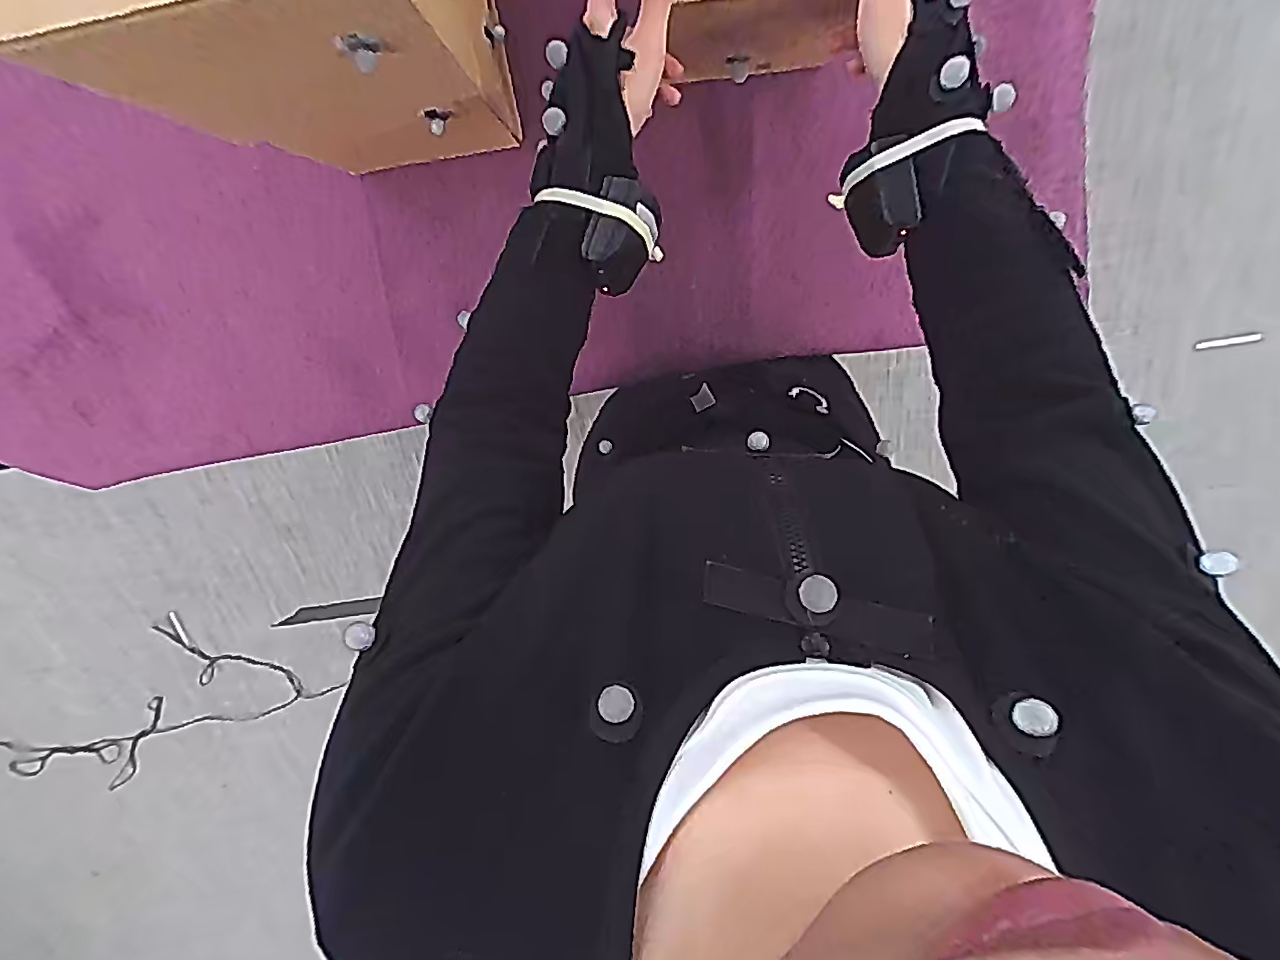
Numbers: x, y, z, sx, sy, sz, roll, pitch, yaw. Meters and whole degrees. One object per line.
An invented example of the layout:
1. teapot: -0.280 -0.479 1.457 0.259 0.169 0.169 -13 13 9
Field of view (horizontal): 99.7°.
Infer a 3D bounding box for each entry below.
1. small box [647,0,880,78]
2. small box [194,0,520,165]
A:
1. small box: 0.086 -0.431 0.394 0.168 0.176 0.179 -5 111 1
2. small box: -0.209 -0.363 0.419 0.179 0.176 0.168 -9 110 2
